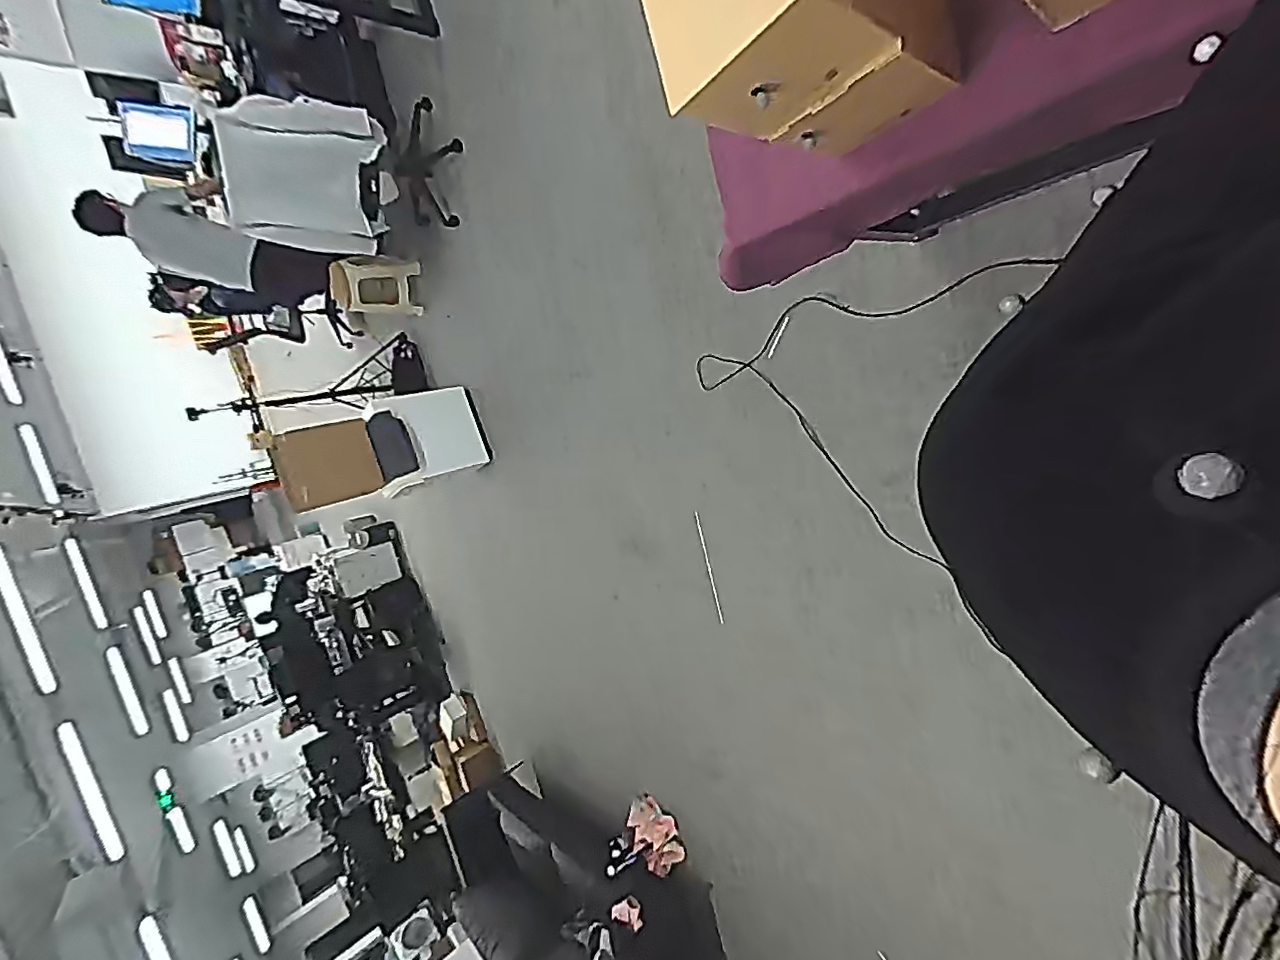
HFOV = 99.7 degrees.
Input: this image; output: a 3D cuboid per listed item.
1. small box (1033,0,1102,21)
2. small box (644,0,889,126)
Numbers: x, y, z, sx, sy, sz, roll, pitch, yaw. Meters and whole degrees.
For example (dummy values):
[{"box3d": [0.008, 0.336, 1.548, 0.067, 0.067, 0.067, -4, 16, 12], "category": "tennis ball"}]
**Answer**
[{"box3d": [0.410, -0.536, 0.444, 0.179, 0.176, 0.168, -6, 100, 50], "category": "small box"}, {"box3d": [0.123, -0.488, 0.540, 0.168, 0.176, 0.179, -10, 96, 51], "category": "small box"}]
